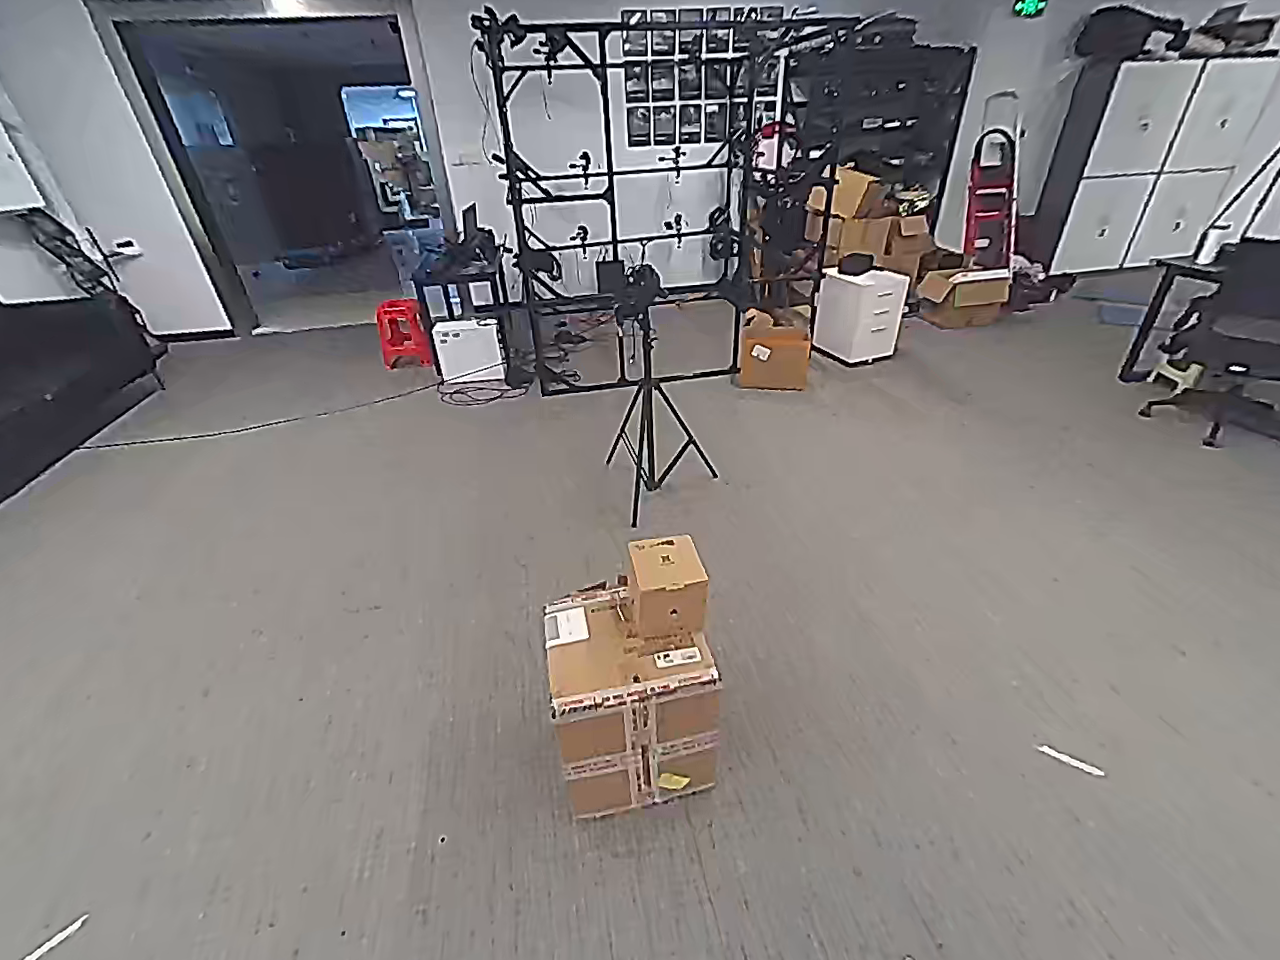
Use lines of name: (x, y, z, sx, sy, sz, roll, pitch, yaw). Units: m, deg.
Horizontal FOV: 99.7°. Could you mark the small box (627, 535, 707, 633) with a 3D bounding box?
small box: (0.063, 0.264, 1.353, 0.168, 0.176, 0.179, -6, 35, -9)
